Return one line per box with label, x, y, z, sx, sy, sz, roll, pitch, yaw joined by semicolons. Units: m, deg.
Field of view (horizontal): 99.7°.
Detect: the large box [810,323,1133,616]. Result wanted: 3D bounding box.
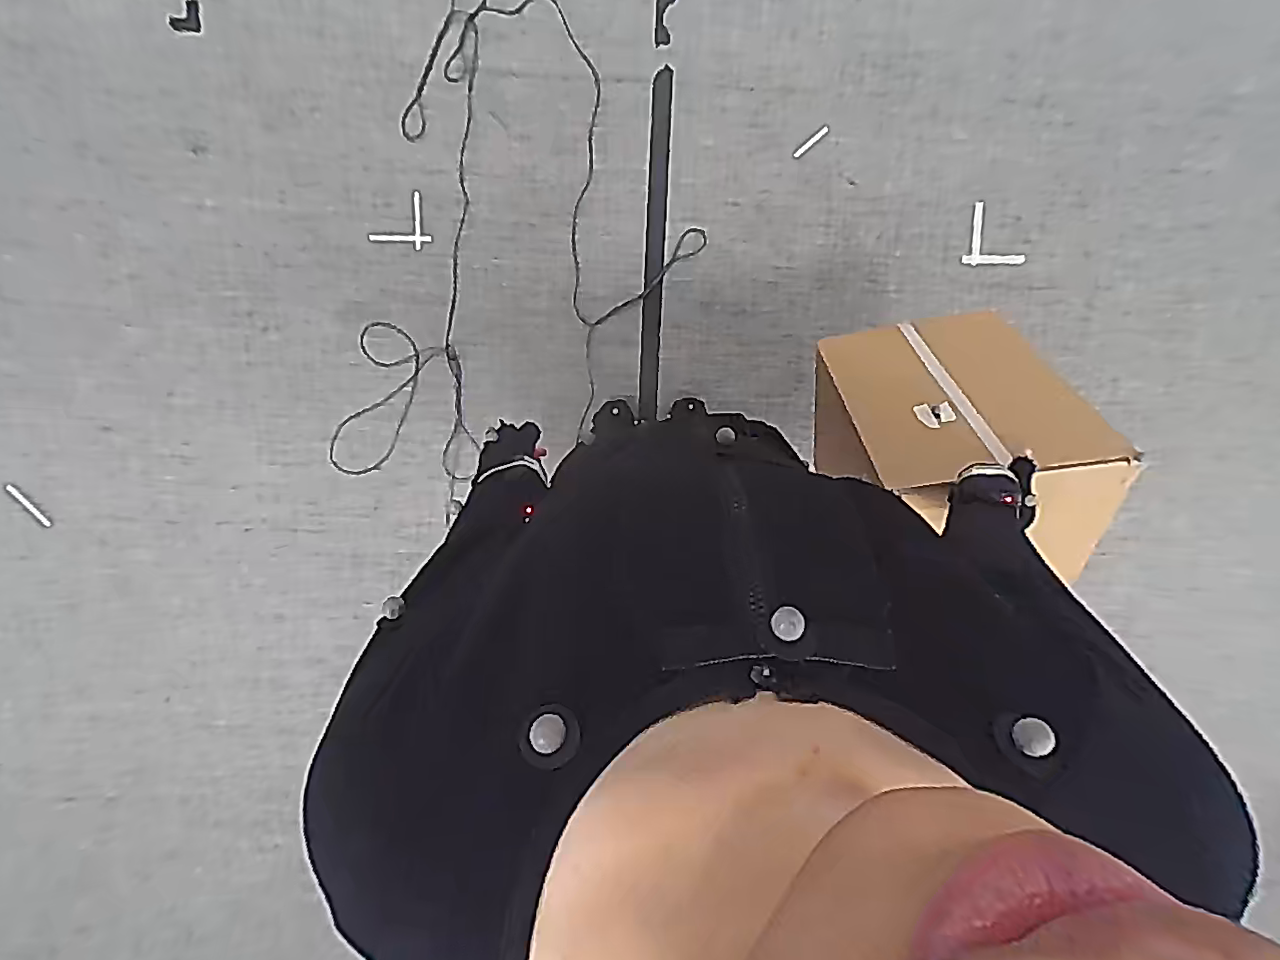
large box;0.511;-0.024;0.959;0.320;0.408;0.320;-9;134;7
